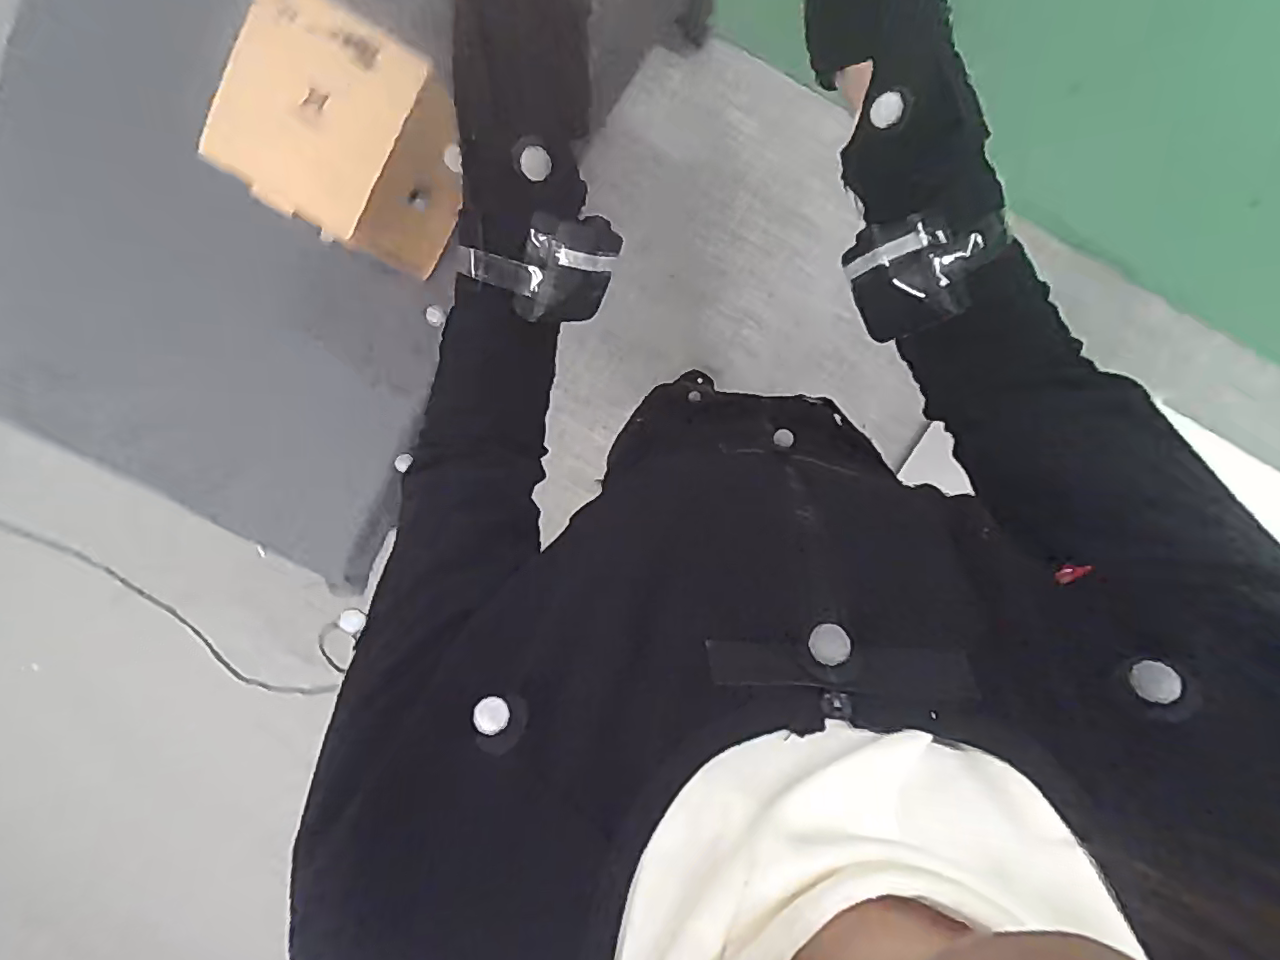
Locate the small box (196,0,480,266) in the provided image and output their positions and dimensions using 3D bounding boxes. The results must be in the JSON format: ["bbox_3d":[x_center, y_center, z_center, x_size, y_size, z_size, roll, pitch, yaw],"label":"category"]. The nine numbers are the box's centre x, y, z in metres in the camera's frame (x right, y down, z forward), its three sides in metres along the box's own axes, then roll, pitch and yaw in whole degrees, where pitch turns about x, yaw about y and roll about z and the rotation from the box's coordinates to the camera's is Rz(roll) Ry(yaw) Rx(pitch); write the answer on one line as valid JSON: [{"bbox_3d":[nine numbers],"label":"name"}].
[{"bbox_3d":[-0.294,-0.351,0.564,0.168,0.176,0.179,31,102,-2],"label":"small box"}]
